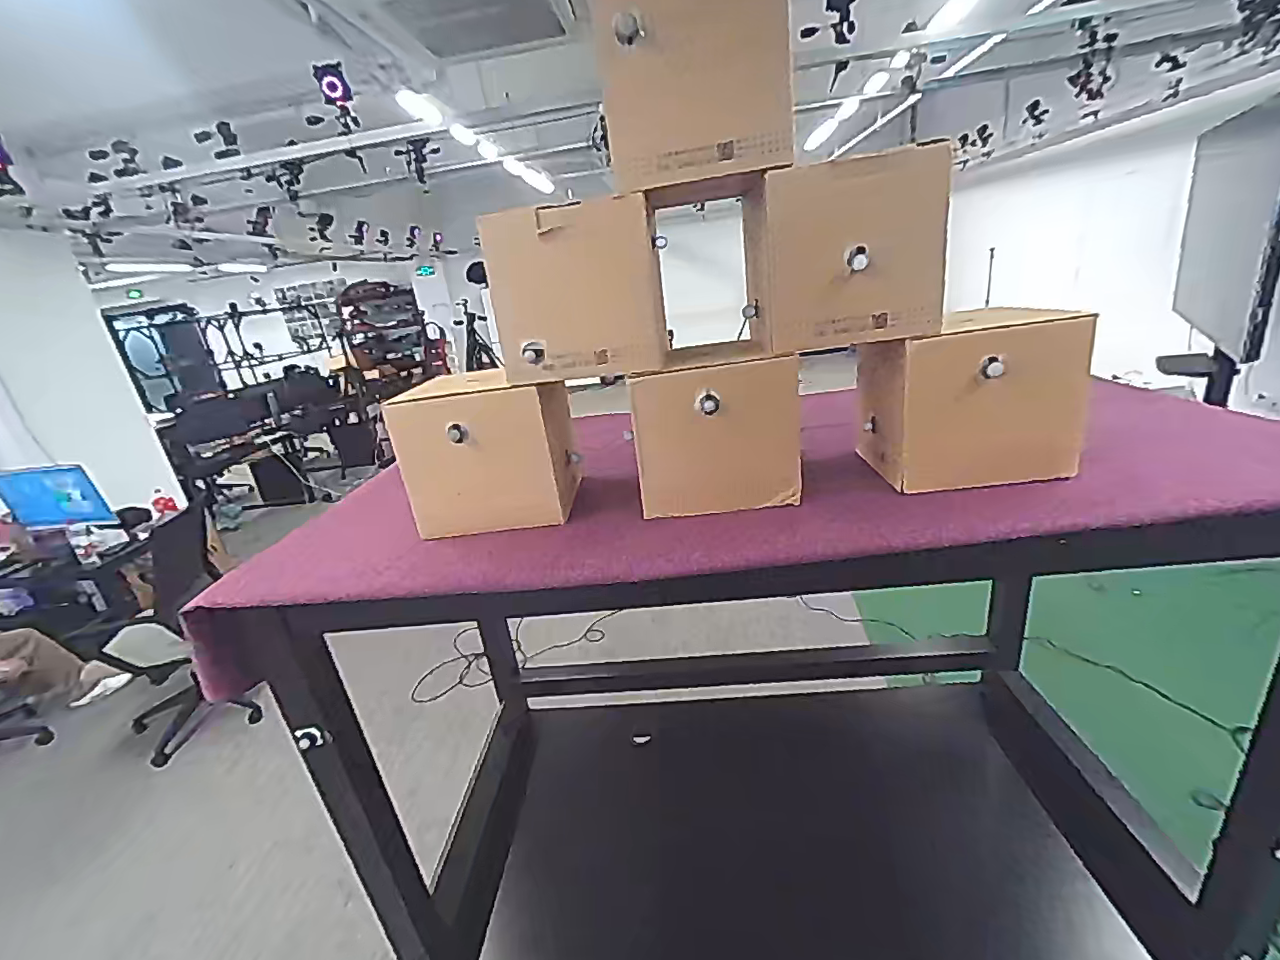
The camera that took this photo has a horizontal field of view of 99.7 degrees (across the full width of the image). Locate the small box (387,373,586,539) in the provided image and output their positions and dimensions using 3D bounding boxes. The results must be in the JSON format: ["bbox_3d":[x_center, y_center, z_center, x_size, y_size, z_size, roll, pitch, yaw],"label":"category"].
[{"bbox_3d":[-0.177,-0.036,0.682,0.179,0.176,0.168,-7,21,5],"label":"small box"}]

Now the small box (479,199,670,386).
[{"bbox_3d":[-0.057,-0.204,0.614,0.168,0.176,0.179,-4,20,8],"label":"small box"}]

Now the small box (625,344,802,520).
[{"bbox_3d":[0.087,-0.059,0.643,0.179,0.176,0.168,-6,20,7],"label":"small box"}]

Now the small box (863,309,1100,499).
[{"bbox_3d":[0.363,-0.090,0.614,0.179,0.176,0.168,-7,20,7],"label":"small box"}]

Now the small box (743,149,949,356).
[{"bbox_3d":[0.208,-0.231,0.583,0.168,0.176,0.179,-6,20,6],"label":"small box"}]
